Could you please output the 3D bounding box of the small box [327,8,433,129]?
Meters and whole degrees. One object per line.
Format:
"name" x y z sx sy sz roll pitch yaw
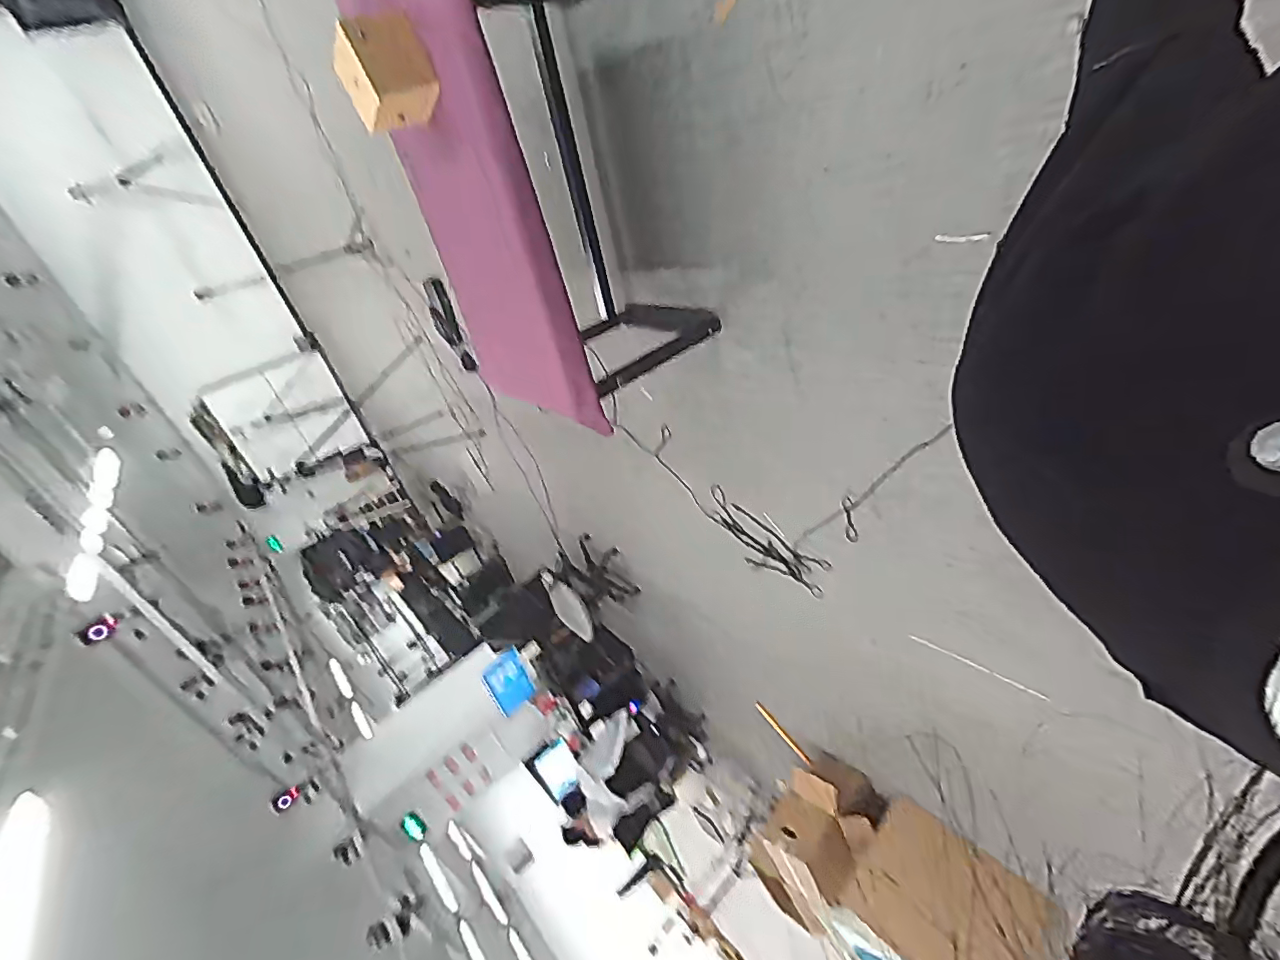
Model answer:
"small box" -0.643 -1.021 1.344 0.168 0.176 0.179 0 120 57
